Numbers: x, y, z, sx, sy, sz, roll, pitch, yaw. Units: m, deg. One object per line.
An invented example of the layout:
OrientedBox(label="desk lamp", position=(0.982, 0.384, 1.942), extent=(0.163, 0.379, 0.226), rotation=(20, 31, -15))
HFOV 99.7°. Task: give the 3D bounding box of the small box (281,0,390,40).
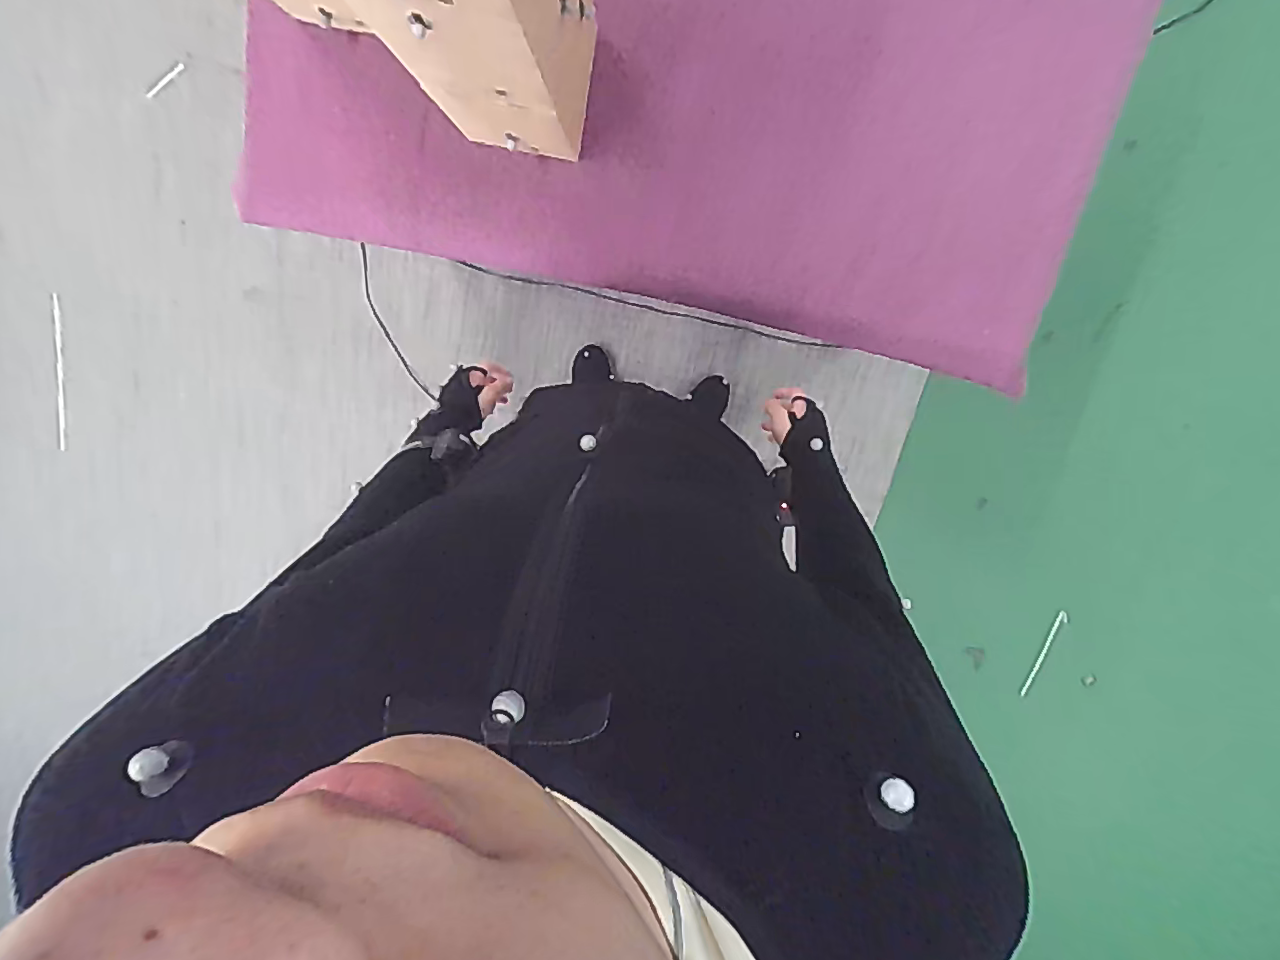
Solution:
OrientedBox(label="small box", position=(-0.394, -0.693, 0.659), extent=(0.168, 0.176, 0.179), rotation=(10, 105, 0))

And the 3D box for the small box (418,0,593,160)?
OrientedBox(label="small box", position=(-0.159, -0.543, 0.686), extent=(0.168, 0.176, 0.179), rotation=(11, 104, 0))

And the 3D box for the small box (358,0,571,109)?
OrientedBox(label="small box", position=(-0.164, -0.507, 0.526), extent=(0.168, 0.176, 0.179), rotation=(11, 103, 0))
